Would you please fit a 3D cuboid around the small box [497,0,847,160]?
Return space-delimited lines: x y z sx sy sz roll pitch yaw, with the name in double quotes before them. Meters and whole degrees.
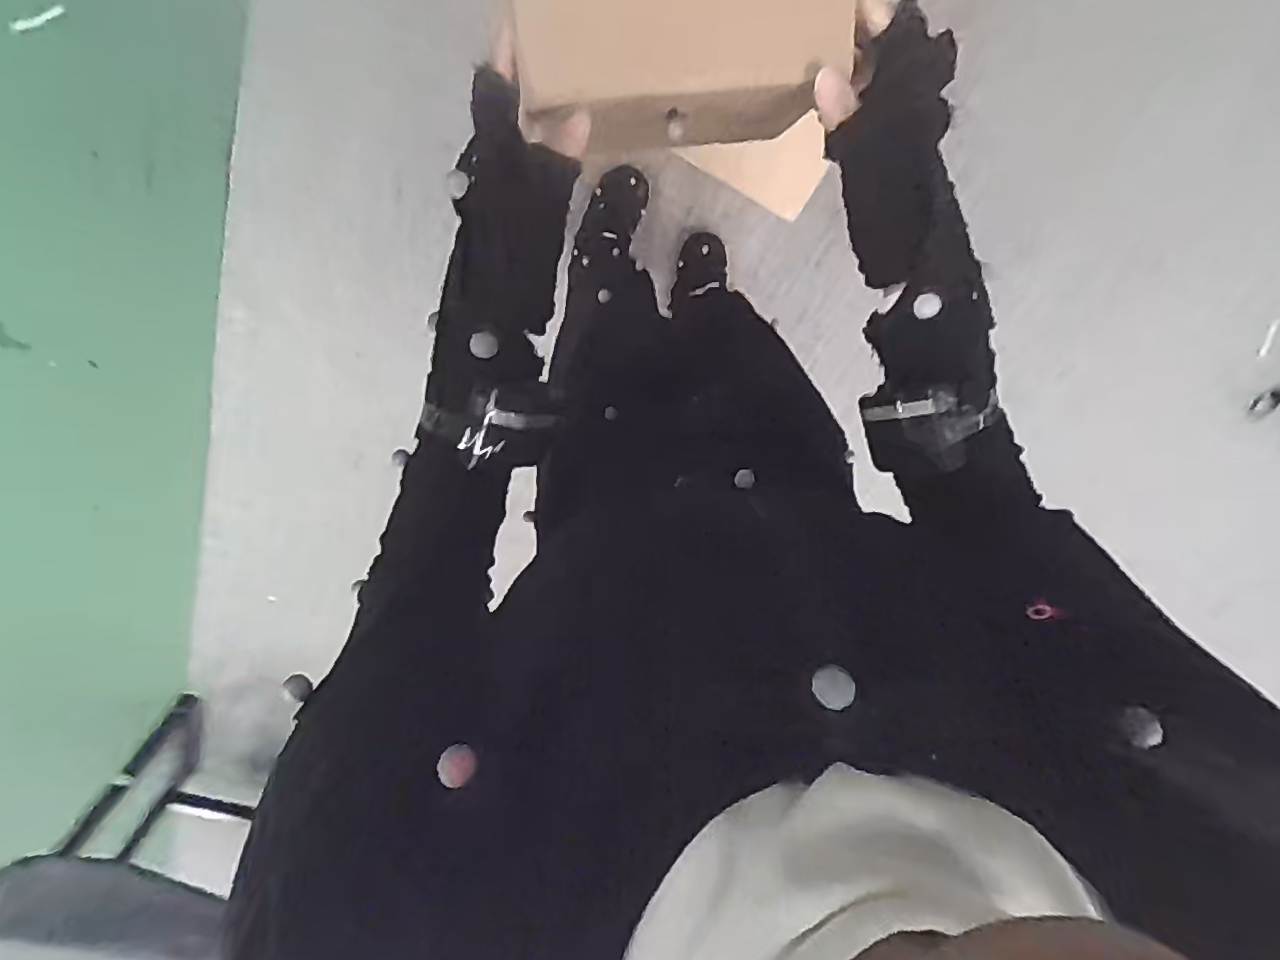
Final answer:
"small box" 0.012 -0.306 0.327 0.179 0.176 0.168 -7 114 2
